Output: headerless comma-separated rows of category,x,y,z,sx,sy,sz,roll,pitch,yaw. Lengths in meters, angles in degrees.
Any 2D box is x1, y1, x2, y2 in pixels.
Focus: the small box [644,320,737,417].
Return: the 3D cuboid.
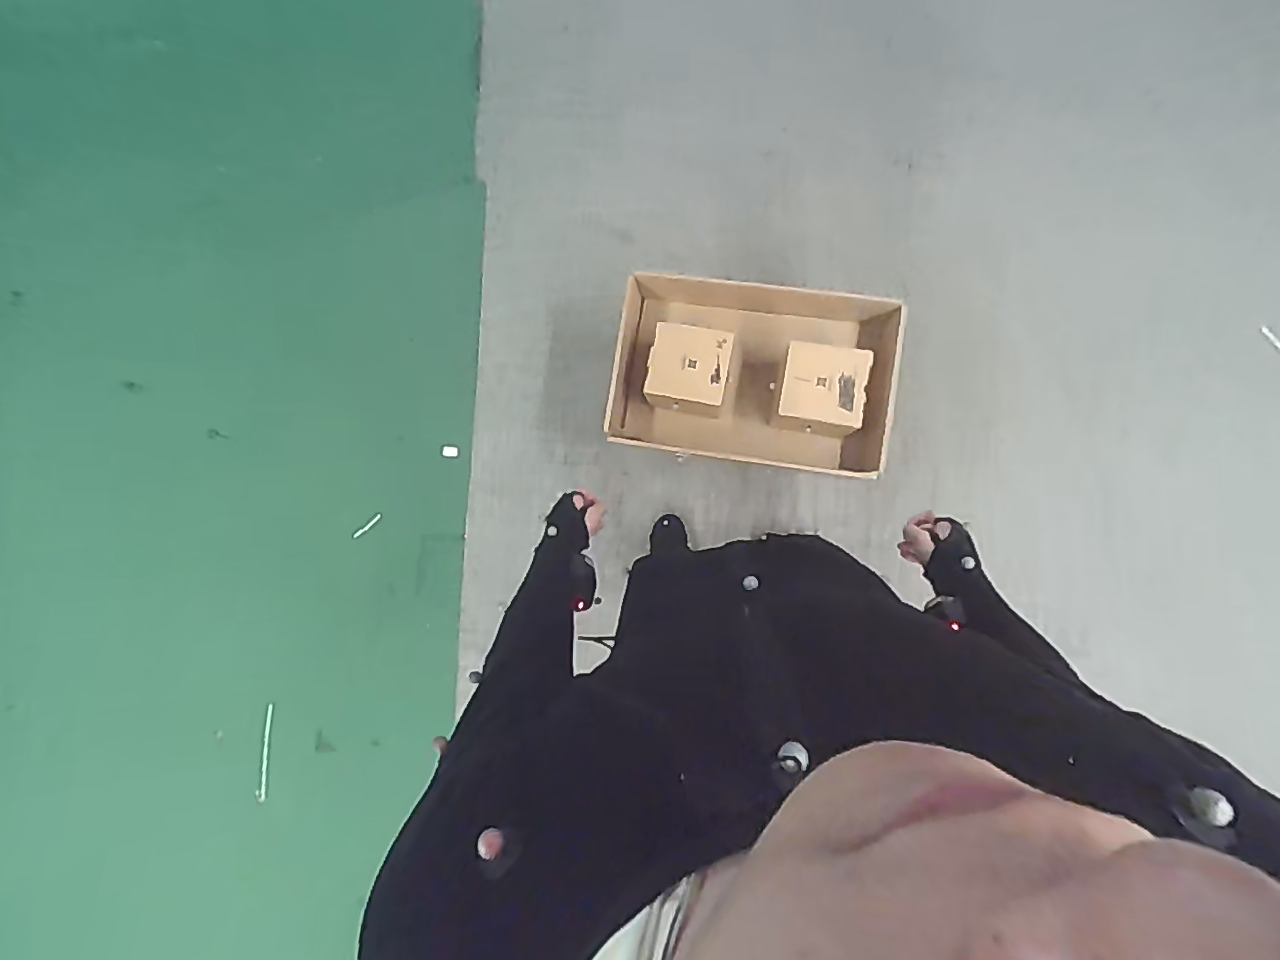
small box,0.122,-0.251,1.254,0.179,0.176,0.168,12,88,9
